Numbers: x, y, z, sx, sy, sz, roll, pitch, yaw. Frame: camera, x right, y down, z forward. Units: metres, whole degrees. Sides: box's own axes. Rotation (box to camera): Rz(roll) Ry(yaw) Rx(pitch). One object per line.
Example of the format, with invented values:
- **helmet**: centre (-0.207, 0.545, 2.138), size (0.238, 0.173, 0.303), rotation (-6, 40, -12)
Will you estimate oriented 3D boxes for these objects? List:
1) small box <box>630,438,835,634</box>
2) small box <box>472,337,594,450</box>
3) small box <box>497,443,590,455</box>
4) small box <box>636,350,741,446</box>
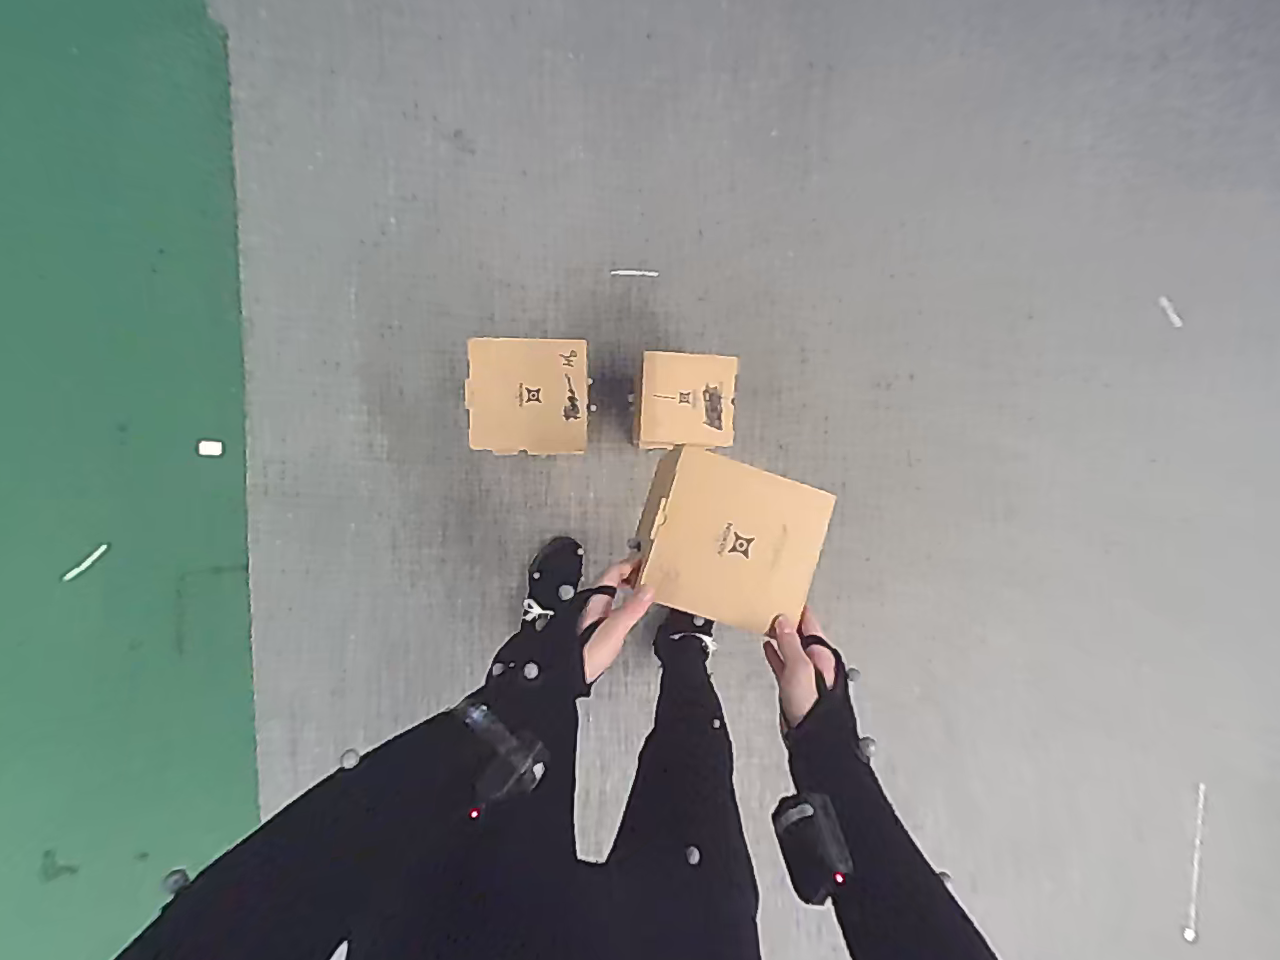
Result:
- **small box**: centre (0.095, 0.062, 0.648), size (0.179, 0.176, 0.168), rotation (19, 87, -5)
- **small box**: centre (-0.167, -0.134, 0.884), size (0.179, 0.176, 0.168), rotation (0, 94, -4)
- **small box**: centre (-0.181, -0.139, 1.048), size (0.168, 0.176, 0.179), rotation (-1, 94, -5)
- **small box**: centre (0.089, -0.154, 1.067), size (0.179, 0.176, 0.168), rotation (3, 93, -4)
